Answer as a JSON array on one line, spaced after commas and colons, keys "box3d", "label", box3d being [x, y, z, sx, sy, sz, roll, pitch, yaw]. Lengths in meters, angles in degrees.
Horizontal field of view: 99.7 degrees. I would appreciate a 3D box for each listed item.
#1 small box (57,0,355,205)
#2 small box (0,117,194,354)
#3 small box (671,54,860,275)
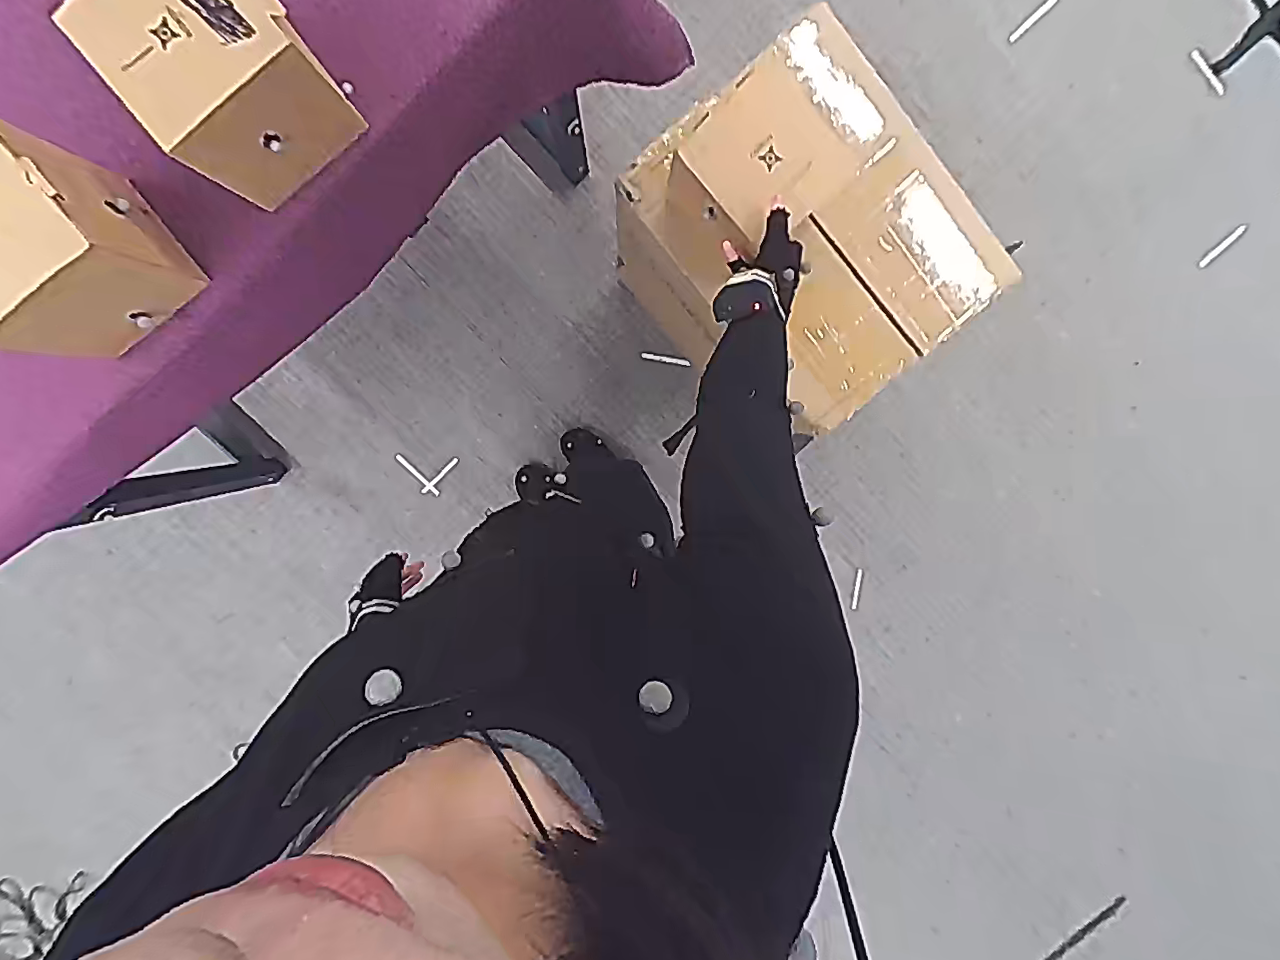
[{"box3d": [-0.465, -0.461, 0.619, 0.179, 0.176, 0.168, -38, 96, 3], "label": "small box"}, {"box3d": [-0.685, -0.270, 0.635, 0.179, 0.176, 0.168, -37, 96, 2], "label": "small box"}, {"box3d": [0.158, -0.415, 0.751, 0.168, 0.176, 0.179, -43, 98, 6], "label": "small box"}]
